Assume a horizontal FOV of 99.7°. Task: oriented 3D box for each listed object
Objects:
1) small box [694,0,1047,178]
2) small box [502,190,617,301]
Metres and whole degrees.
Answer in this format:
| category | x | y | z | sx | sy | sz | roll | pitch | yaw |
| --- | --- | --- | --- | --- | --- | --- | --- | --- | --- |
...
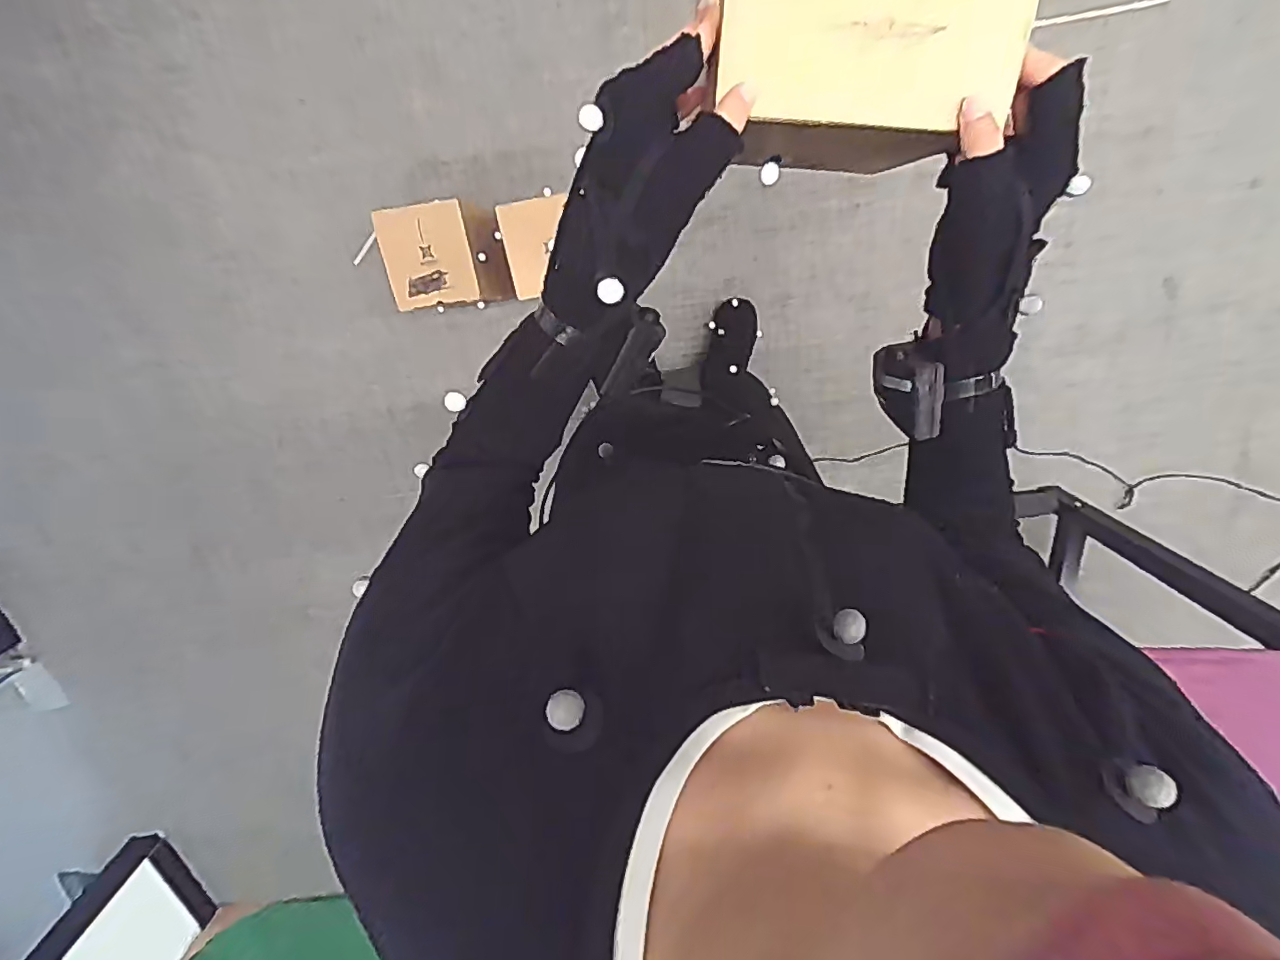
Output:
| category | x | y | z | sx | sy | sz | roll | pitch | yaw |
| --- | --- | --- | --- | --- | --- | --- | --- | --- | --- |
| small box | 0.129 | -0.305 | 0.342 | 0.168 | 0.176 | 0.179 | 2 | 113 | -2 |
| small box | -0.148 | -0.455 | 1.064 | 0.179 | 0.176 | 0.168 | -10 | 112 | 4 |
